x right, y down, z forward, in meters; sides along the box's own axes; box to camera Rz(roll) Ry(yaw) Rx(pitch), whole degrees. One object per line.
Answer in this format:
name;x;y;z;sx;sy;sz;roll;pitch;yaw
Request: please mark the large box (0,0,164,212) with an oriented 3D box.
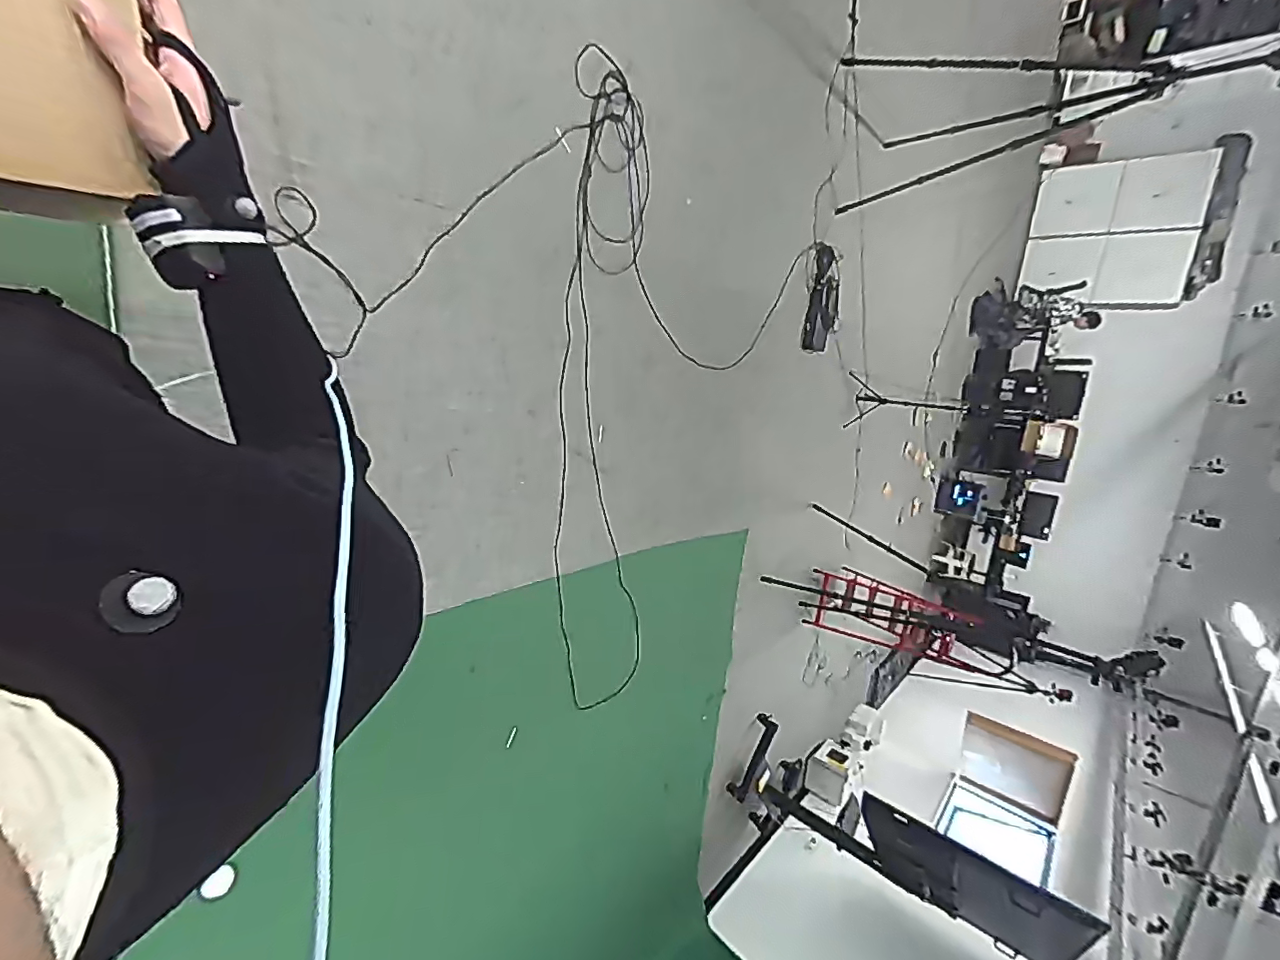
large box;-0.622;-0.385;0.346;0.408;0.320;0.320;-14;115;-48
